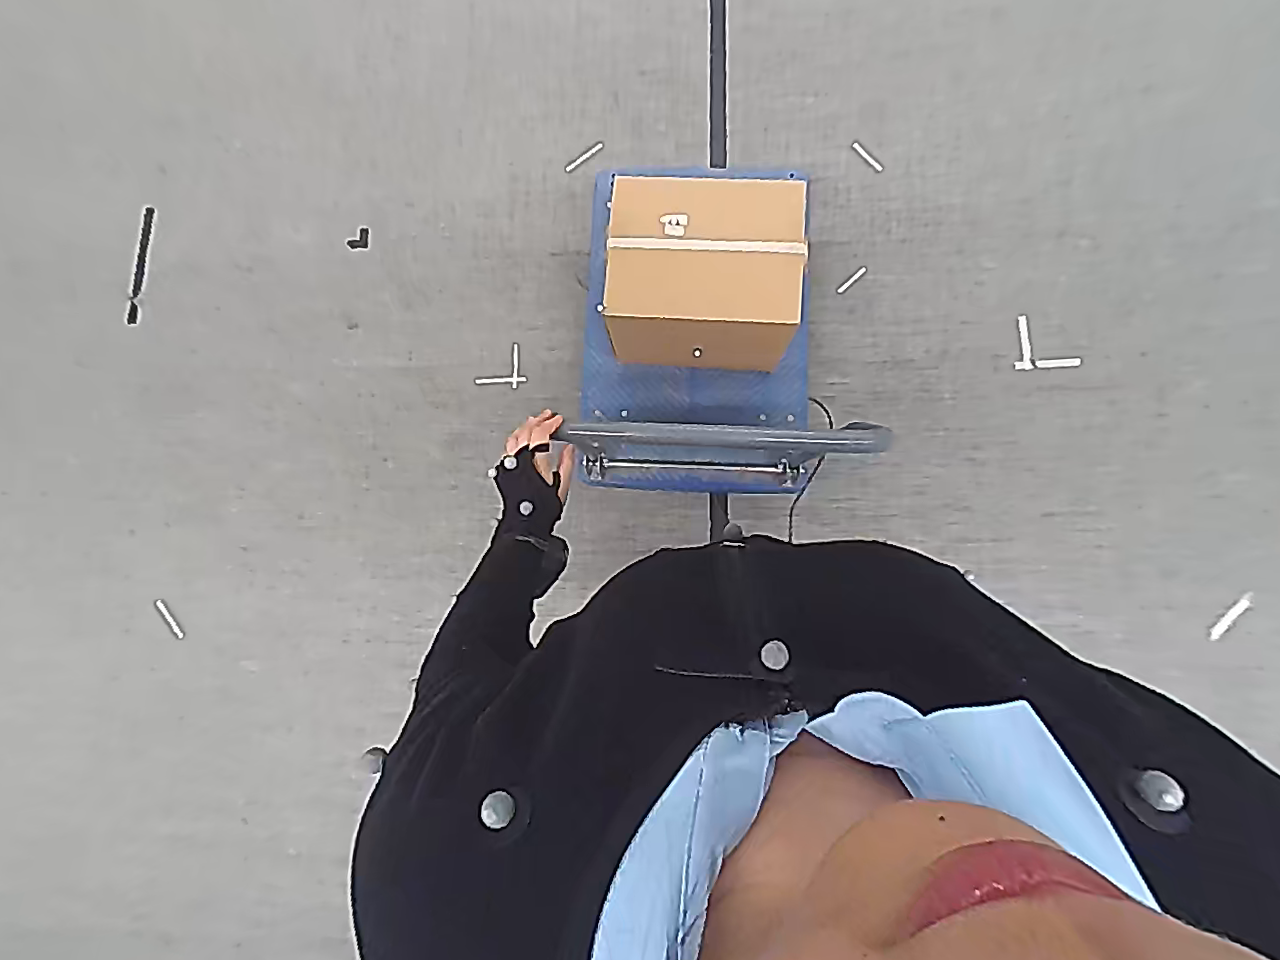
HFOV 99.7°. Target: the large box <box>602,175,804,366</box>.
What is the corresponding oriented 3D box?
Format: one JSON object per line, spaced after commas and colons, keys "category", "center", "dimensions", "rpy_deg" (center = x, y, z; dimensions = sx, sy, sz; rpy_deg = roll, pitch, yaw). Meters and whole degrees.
{"category": "large box", "center": [0.143, -0.462, 1.249], "dimensions": [0.408, 0.320, 0.320], "rpy_deg": [4, 82, 5]}
